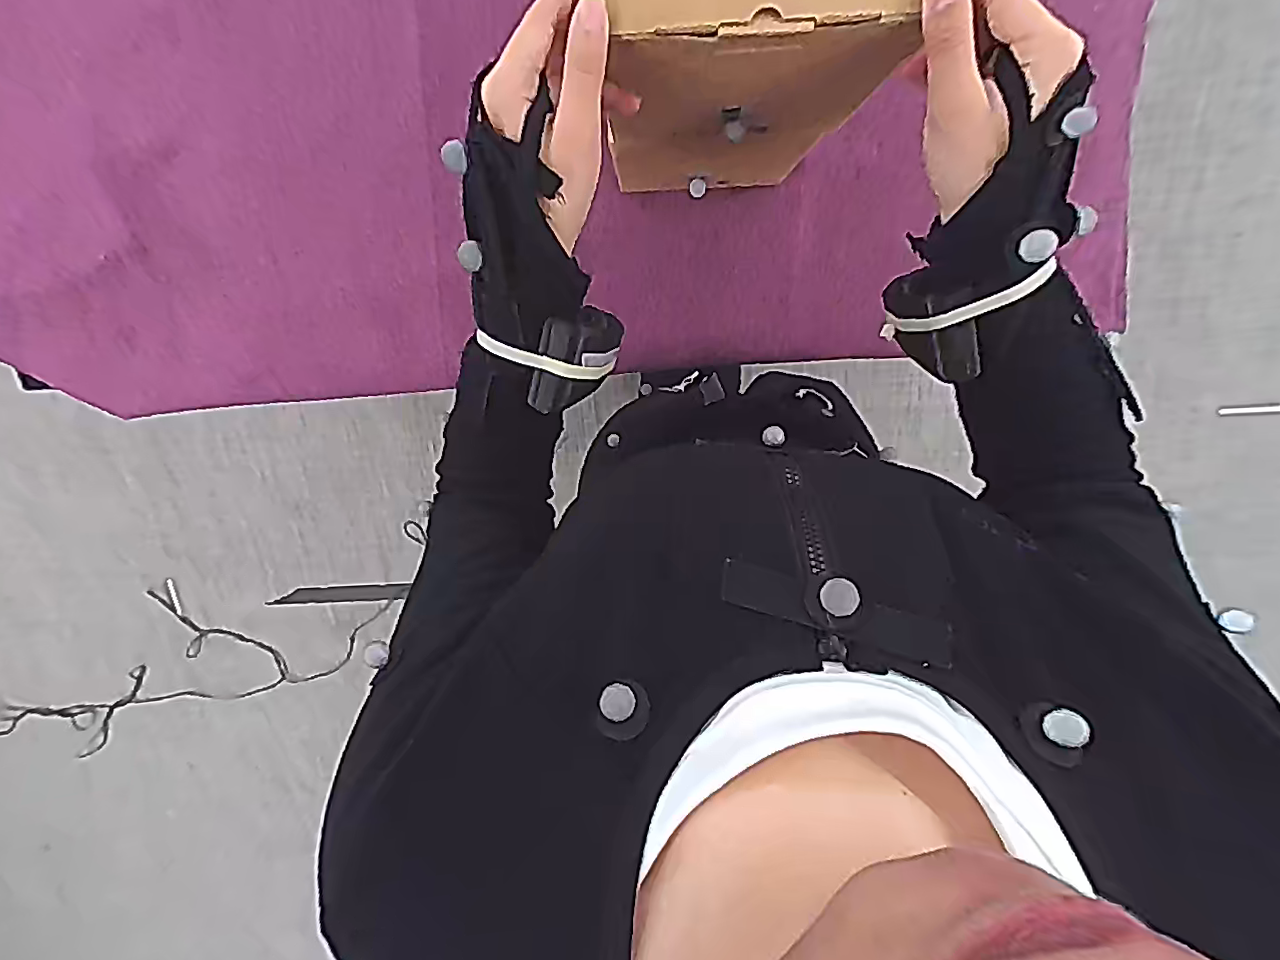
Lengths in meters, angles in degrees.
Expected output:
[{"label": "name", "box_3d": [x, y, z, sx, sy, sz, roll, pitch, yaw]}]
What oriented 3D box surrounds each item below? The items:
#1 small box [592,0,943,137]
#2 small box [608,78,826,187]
[{"label": "small box", "box_3d": [0.058, -0.318, 0.298, 0.168, 0.176, 0.179, -1, 106, 3]}, {"label": "small box", "box_3d": [0.058, -0.366, 0.457, 0.168, 0.176, 0.179, -1, 107, 2]}]
